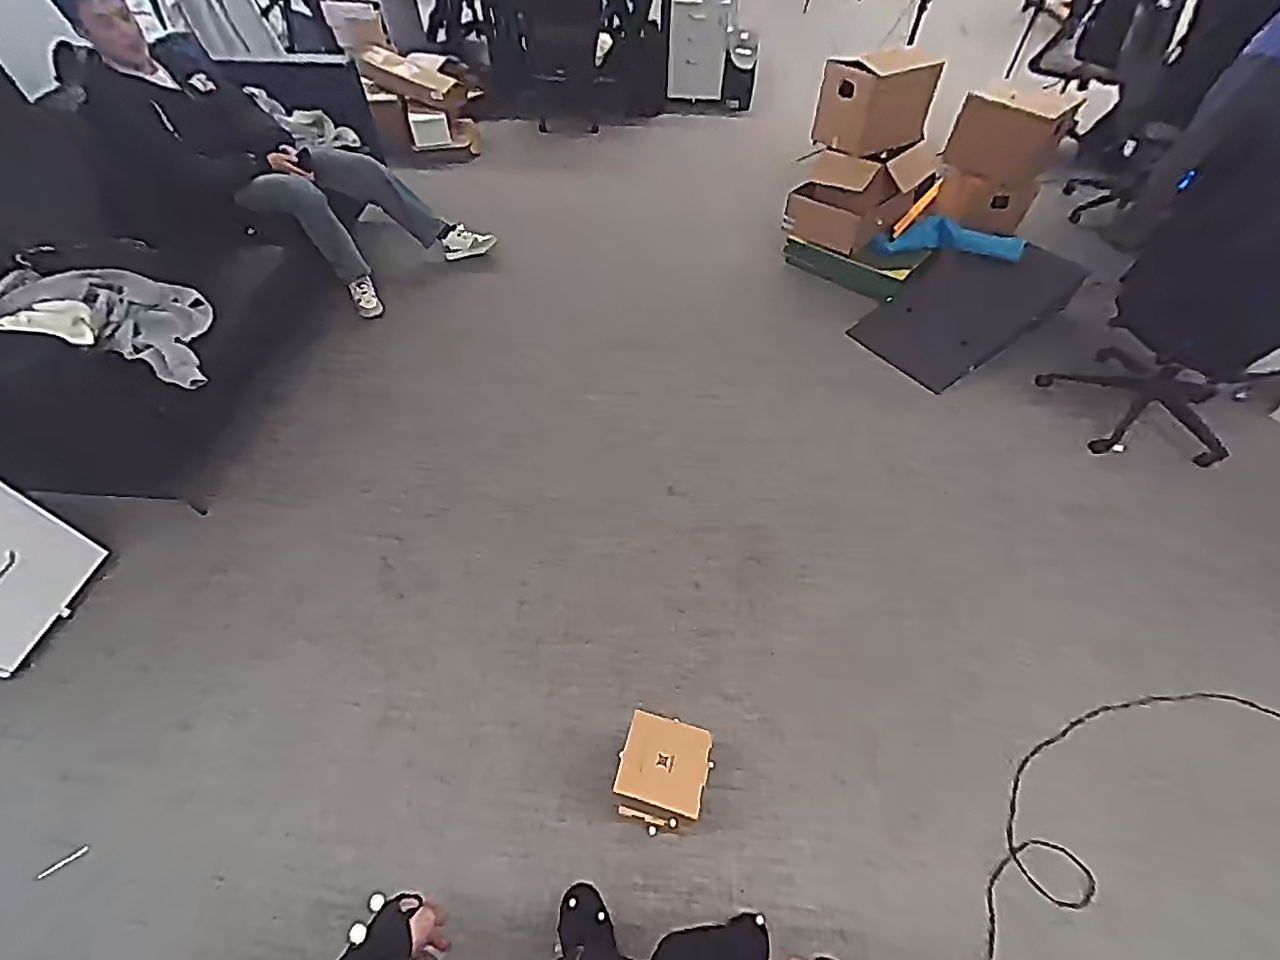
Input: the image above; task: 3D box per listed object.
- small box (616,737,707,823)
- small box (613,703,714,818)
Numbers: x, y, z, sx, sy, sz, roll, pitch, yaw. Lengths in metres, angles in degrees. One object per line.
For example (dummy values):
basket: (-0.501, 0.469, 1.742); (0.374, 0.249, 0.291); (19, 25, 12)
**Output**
small box: (0.053, 0.705, 1.308); (0.179, 0.176, 0.168); (-16, 52, -9)
small box: (0.053, 0.616, 1.181); (0.179, 0.176, 0.168); (12, 52, 12)
